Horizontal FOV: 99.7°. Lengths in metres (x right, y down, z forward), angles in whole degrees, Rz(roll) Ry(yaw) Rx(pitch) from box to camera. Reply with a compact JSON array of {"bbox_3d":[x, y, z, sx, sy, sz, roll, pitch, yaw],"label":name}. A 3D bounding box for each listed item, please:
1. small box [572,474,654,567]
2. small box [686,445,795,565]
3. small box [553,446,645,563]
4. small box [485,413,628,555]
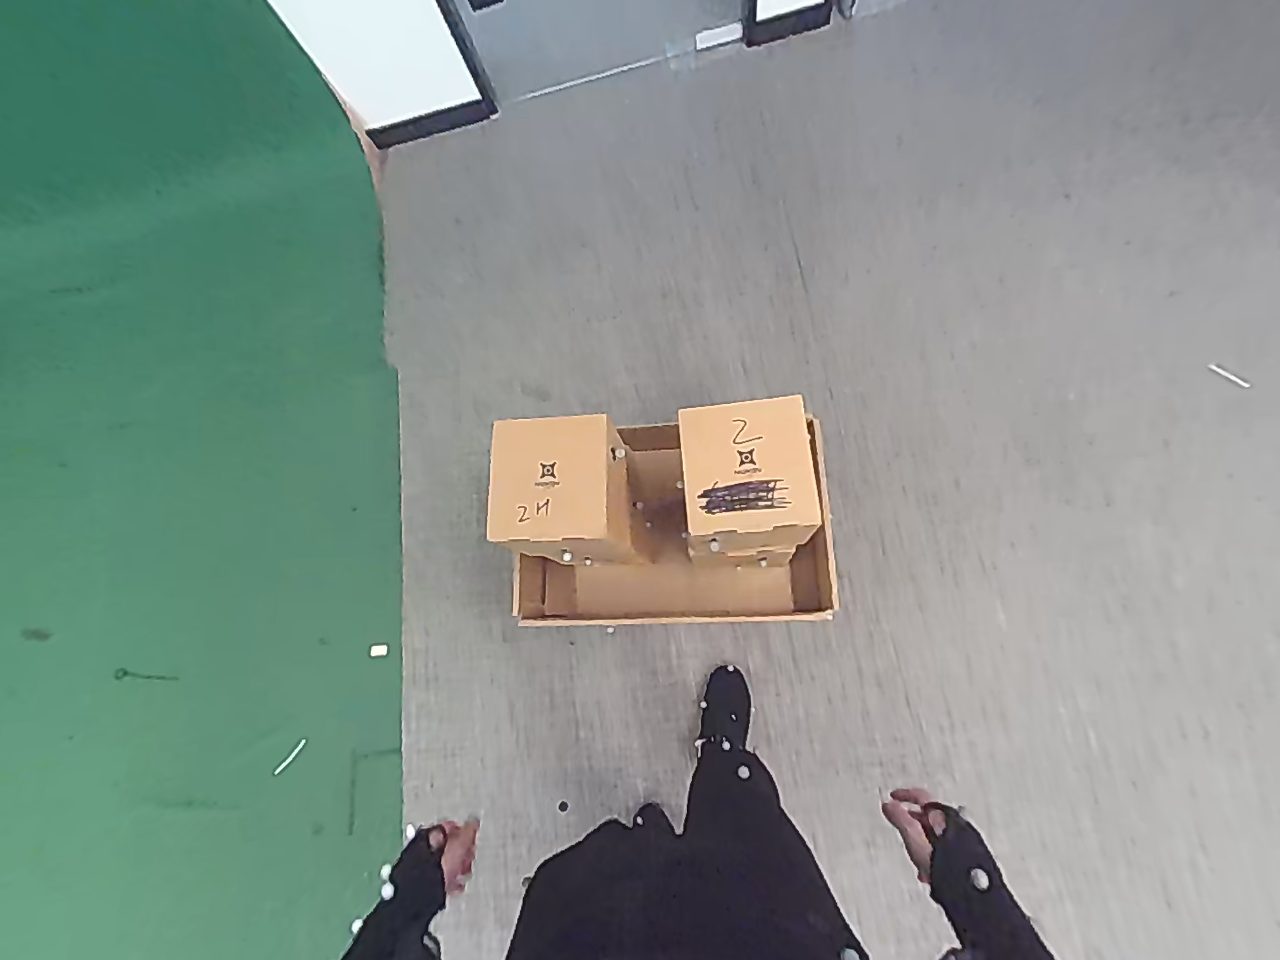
[{"bbox_3d":[-0.069,0.090,1.119,0.179,0.176,0.168,-2,75,8],"label":"small box"},{"bbox_3d":[0.166,0.051,0.916,0.168,0.176,0.179,-2,74,8],"label":"small box"},{"bbox_3d":[-0.084,0.050,0.960,0.168,0.176,0.179,-2,75,8],"label":"small box"},{"bbox_3d":[-0.112,0.014,0.802,0.168,0.176,0.179,-2,75,8],"label":"small box"}]
